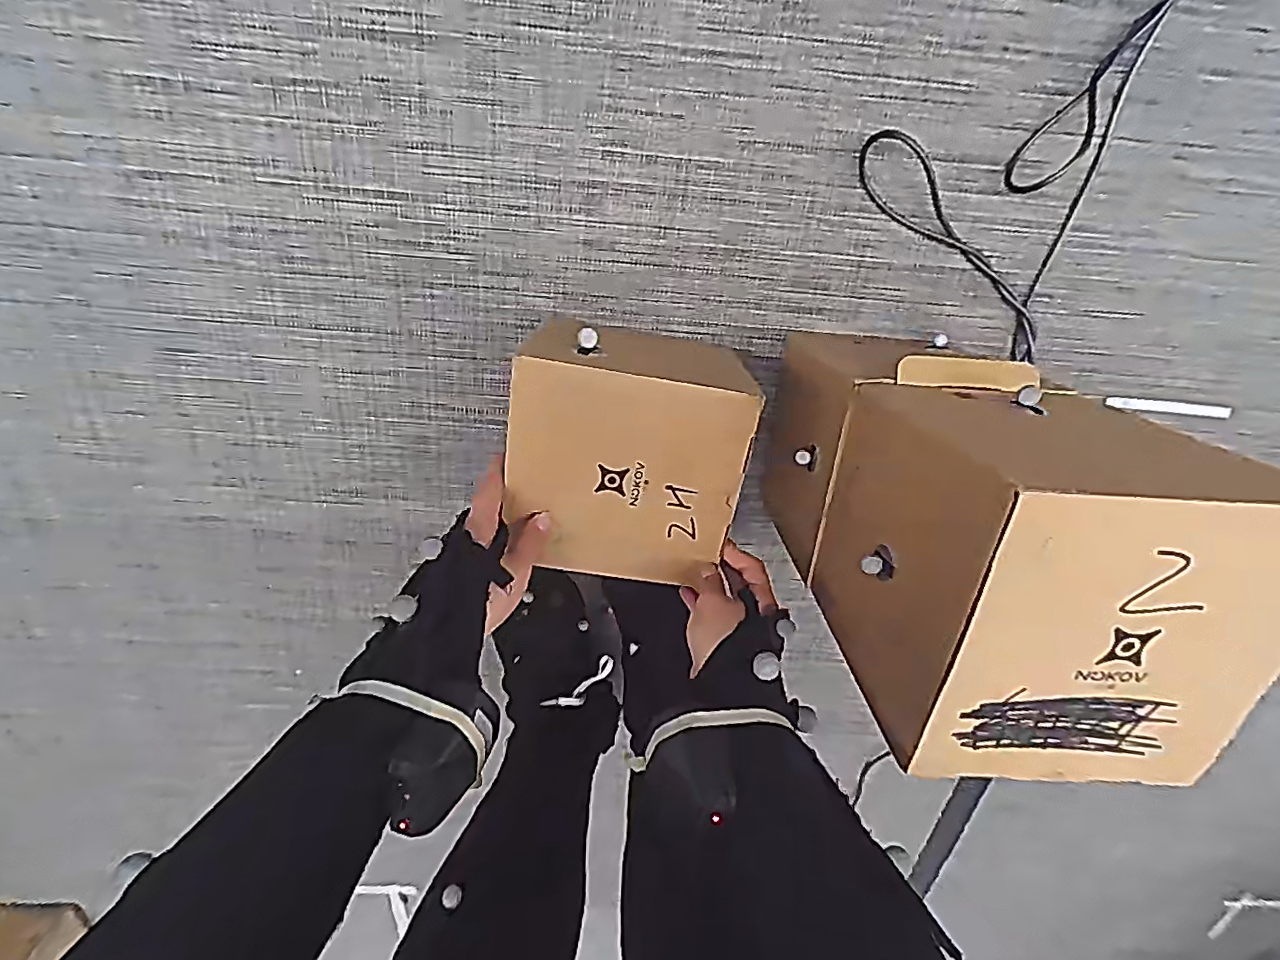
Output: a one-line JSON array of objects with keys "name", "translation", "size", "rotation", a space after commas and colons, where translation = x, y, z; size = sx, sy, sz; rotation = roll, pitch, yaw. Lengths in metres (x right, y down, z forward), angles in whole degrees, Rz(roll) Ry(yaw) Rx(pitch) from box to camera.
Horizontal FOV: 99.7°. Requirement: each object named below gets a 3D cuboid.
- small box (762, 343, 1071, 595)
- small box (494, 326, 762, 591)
[{"name": "small box", "translation": [0.216, -0.019, 0.484], "size": [0.168, 0.176, 0.179], "rotation": [2, 116, -3]}, {"name": "small box", "translation": [-0.015, -0.030, 0.471], "size": [0.179, 0.176, 0.168], "rotation": [9, 115, -4]}]
